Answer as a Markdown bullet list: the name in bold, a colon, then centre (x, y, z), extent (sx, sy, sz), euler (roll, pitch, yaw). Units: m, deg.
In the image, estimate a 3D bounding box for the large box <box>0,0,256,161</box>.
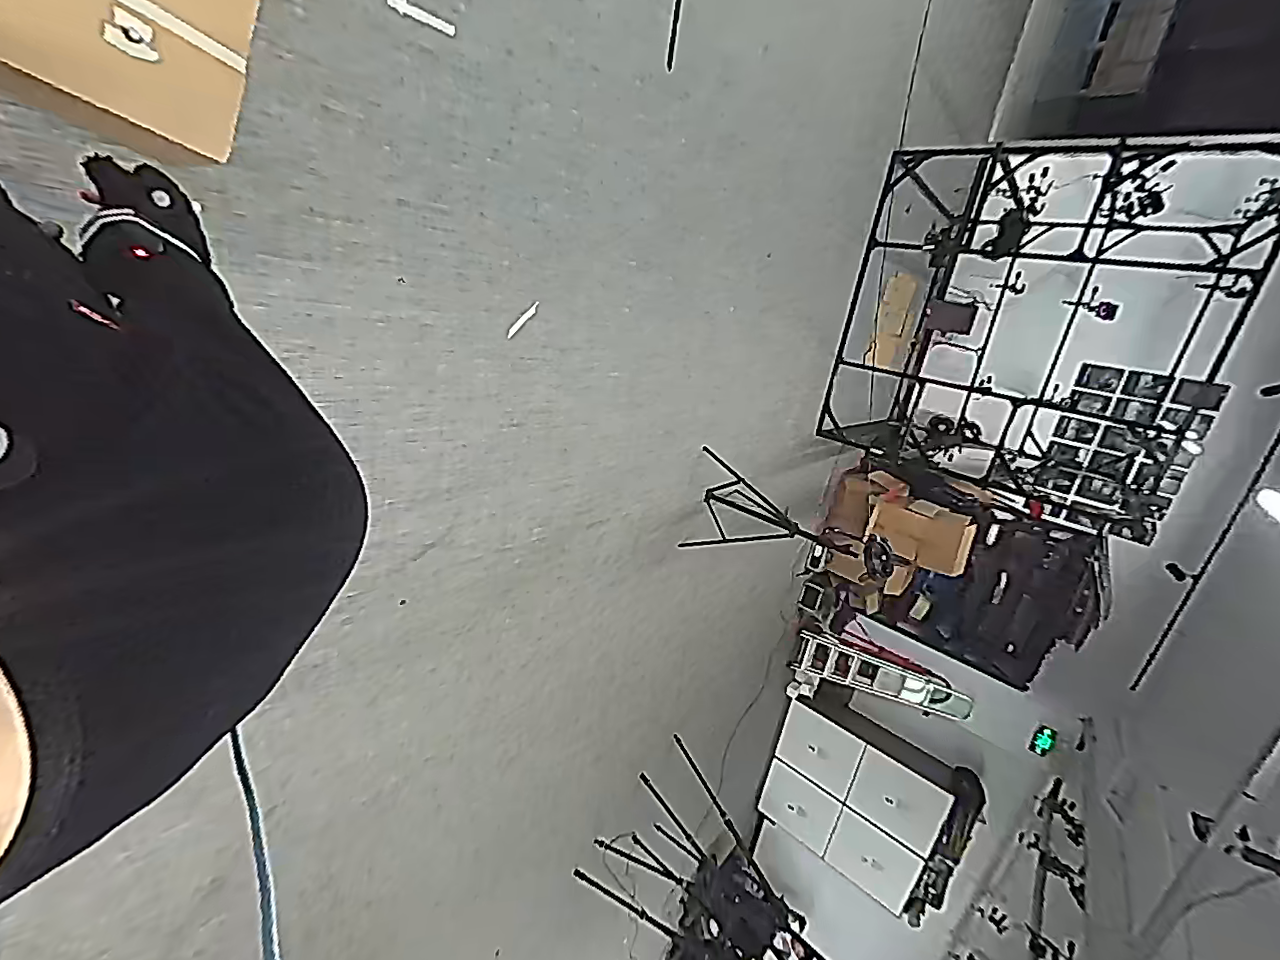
- **large box**: centre (-0.883, -0.741, 0.811), extent (0.408, 0.320, 0.320), euler (8, 103, -55)
